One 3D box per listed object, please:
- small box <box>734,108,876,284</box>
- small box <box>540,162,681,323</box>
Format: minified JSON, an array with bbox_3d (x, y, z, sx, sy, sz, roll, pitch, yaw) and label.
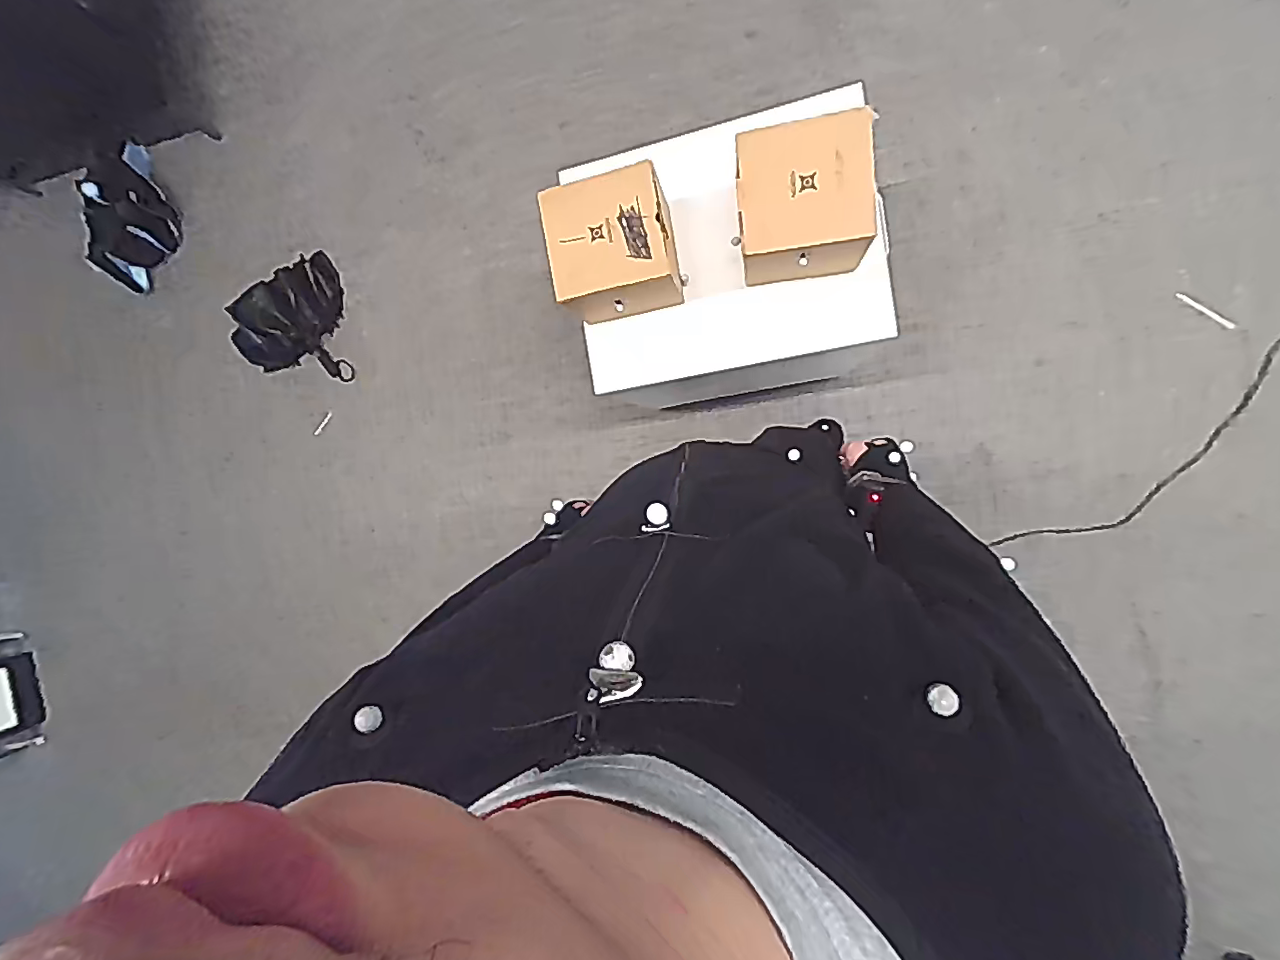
[{"bbox_3d":[0.237,-0.400,0.797,0.179,0.176,0.168,-4,95,13],"label":"small box"},{"bbox_3d":[-0.035,-0.361,0.857,0.179,0.176,0.168,-9,92,13],"label":"small box"}]
